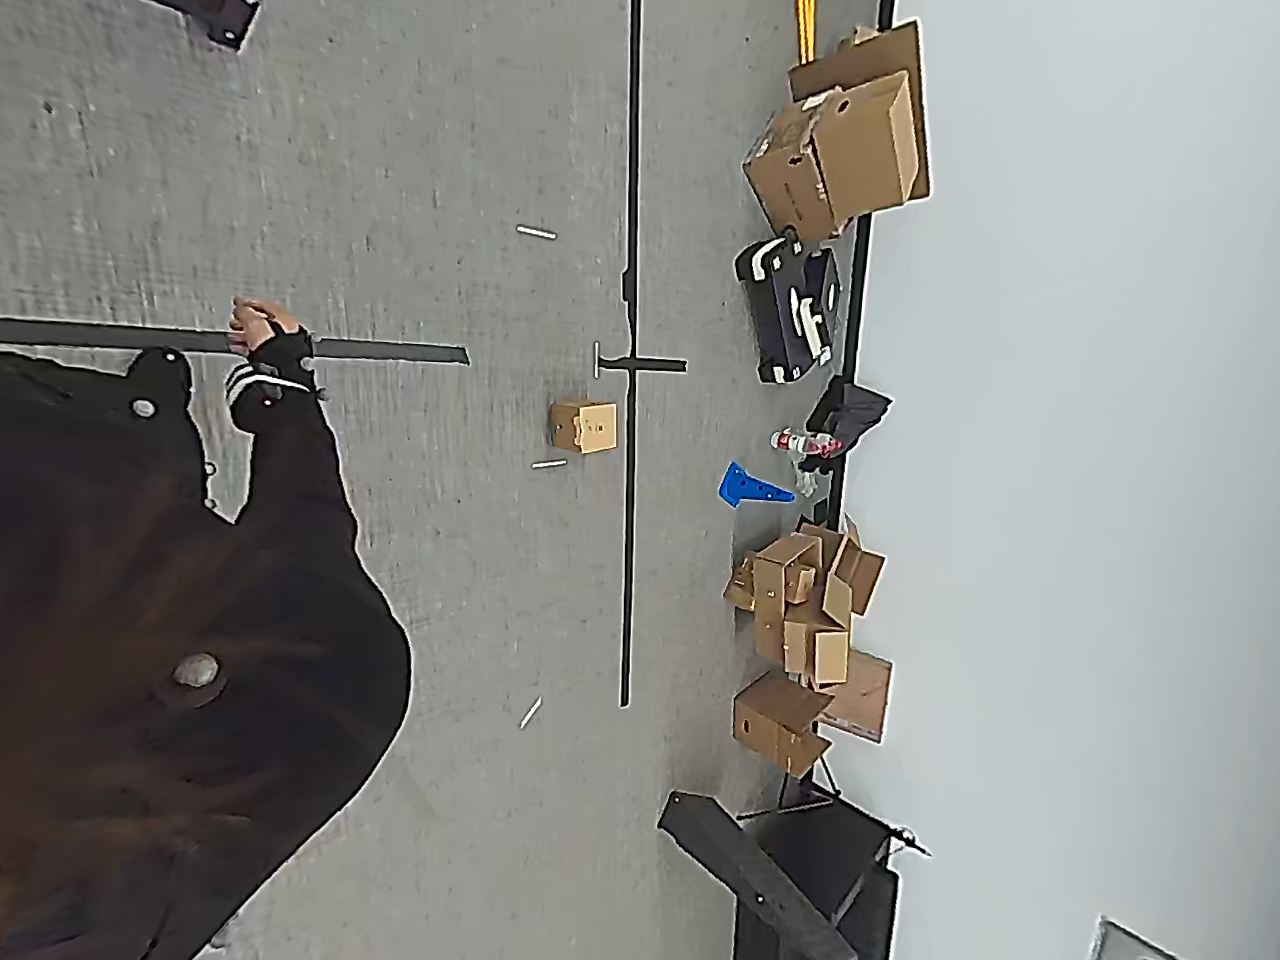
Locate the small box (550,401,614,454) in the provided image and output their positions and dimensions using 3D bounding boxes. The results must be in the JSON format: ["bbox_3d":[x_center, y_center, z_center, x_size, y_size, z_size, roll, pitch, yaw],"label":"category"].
[{"bbox_3d":[-0.213,-0.200,2.002,0.179,0.176,0.168,-14,110,-42],"label":"small box"}]
